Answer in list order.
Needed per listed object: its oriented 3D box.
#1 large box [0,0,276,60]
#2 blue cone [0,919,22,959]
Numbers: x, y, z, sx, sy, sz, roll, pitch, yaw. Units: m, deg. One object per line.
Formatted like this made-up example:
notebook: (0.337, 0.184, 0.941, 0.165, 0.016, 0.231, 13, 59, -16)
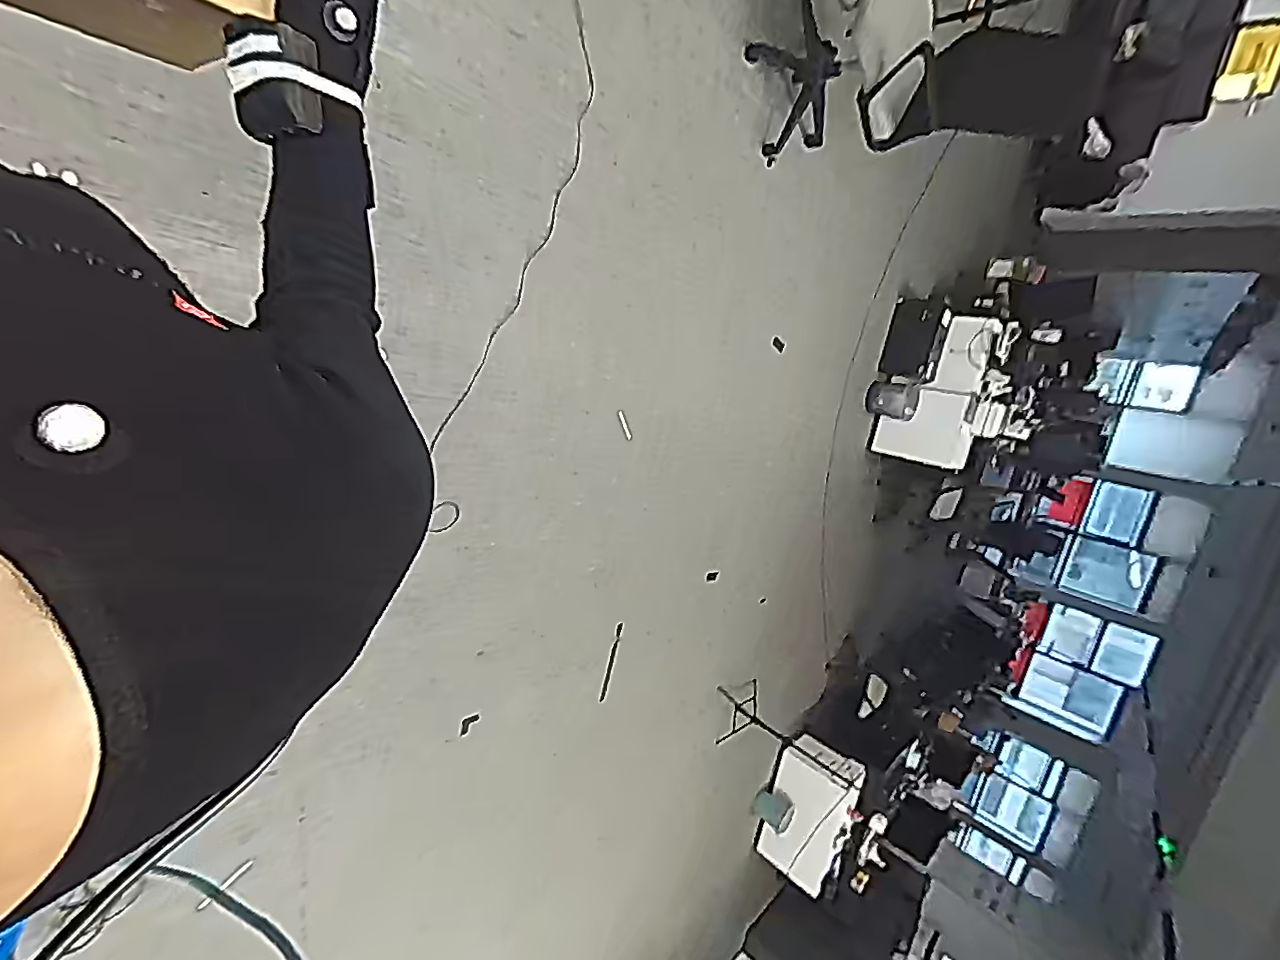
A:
large box: (-0.480, -0.505, 0.291, 0.408, 0.320, 0.320, -10, 119, -48)
blue cone: (-1.354, 1.073, 1.030, 0.193, 0.380, 0.192, 33, 81, -48)
